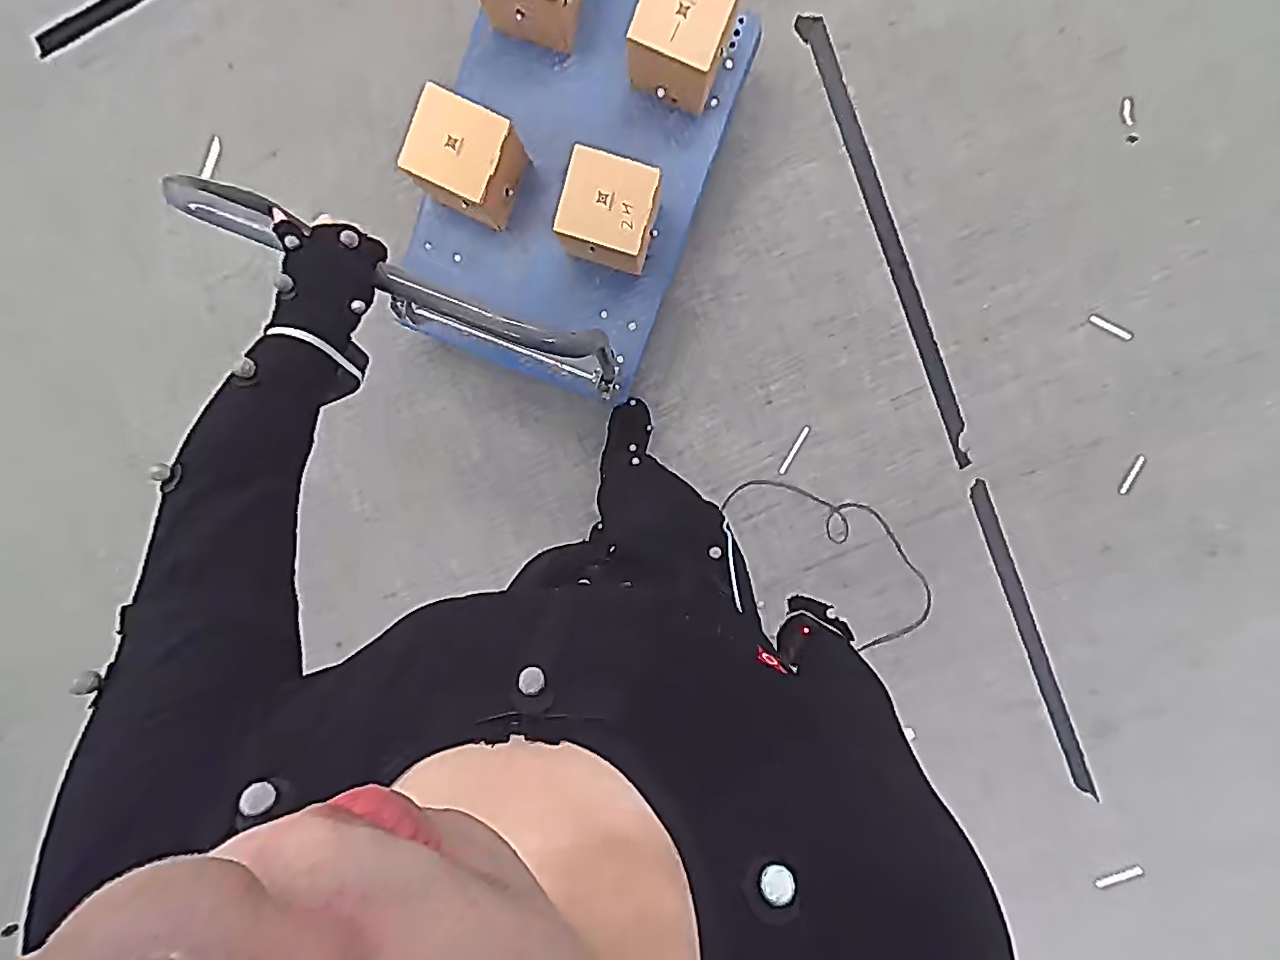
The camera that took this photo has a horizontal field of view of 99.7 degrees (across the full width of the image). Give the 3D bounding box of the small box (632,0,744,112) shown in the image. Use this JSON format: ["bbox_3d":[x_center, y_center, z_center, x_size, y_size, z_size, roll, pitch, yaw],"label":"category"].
[{"bbox_3d":[0.092,-0.879,1.061,0.168,0.176,0.179,23,100,-2],"label":"small box"}]

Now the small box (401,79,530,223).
[{"bbox_3d":[-0.346,-0.656,1.106,0.179,0.176,0.168,24,98,-4],"label":"small box"}]

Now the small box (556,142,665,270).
[{"bbox_3d":[-0.056,-0.551,1.114,0.179,0.176,0.168,17,99,-1],"label":"small box"}]
